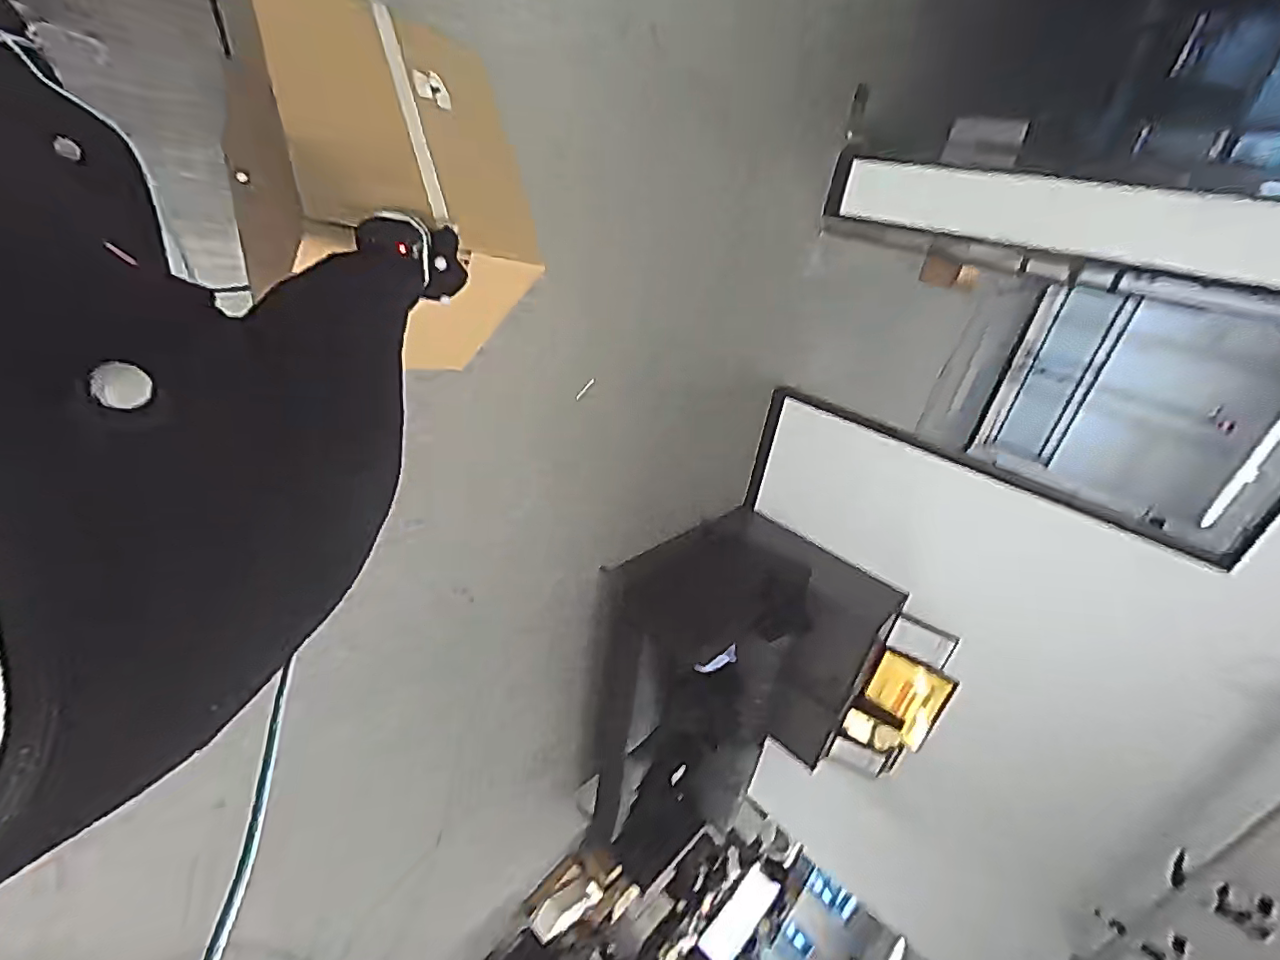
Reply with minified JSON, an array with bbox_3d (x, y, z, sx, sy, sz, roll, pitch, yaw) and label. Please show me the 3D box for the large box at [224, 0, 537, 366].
[{"bbox_3d":[-0.417,-0.428,0.843,0.320,0.408,0.320,-8,163,-44],"label":"large box"}]
